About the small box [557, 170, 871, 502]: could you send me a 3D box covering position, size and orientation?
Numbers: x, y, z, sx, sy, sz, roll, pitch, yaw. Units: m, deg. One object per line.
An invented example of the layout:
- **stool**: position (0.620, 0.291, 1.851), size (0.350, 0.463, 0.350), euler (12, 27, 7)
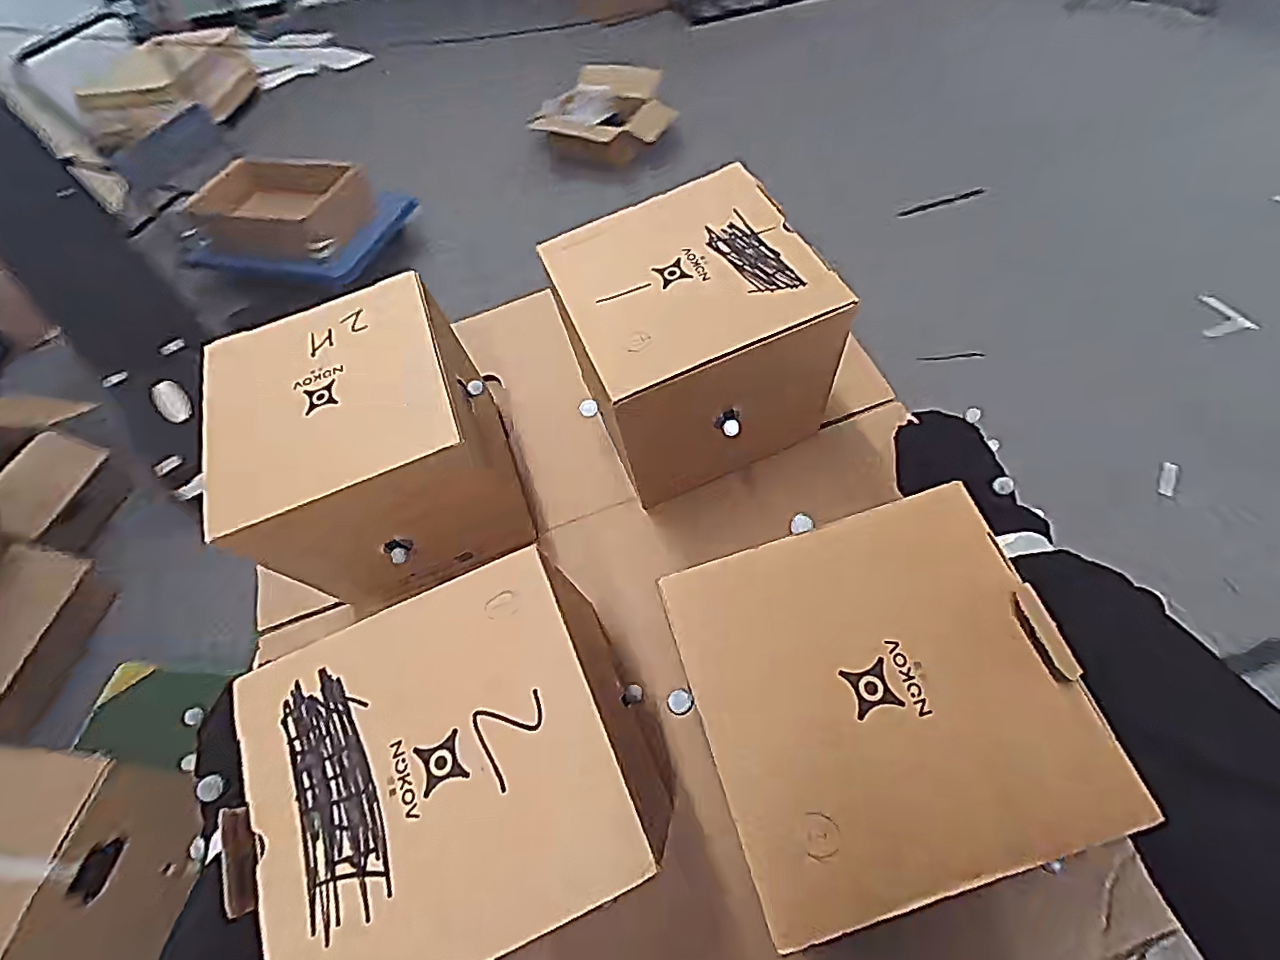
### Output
- **small box**: position (0.053, -0.107, 0.450), size (0.179, 0.176, 0.168), euler (-22, 62, -2)
